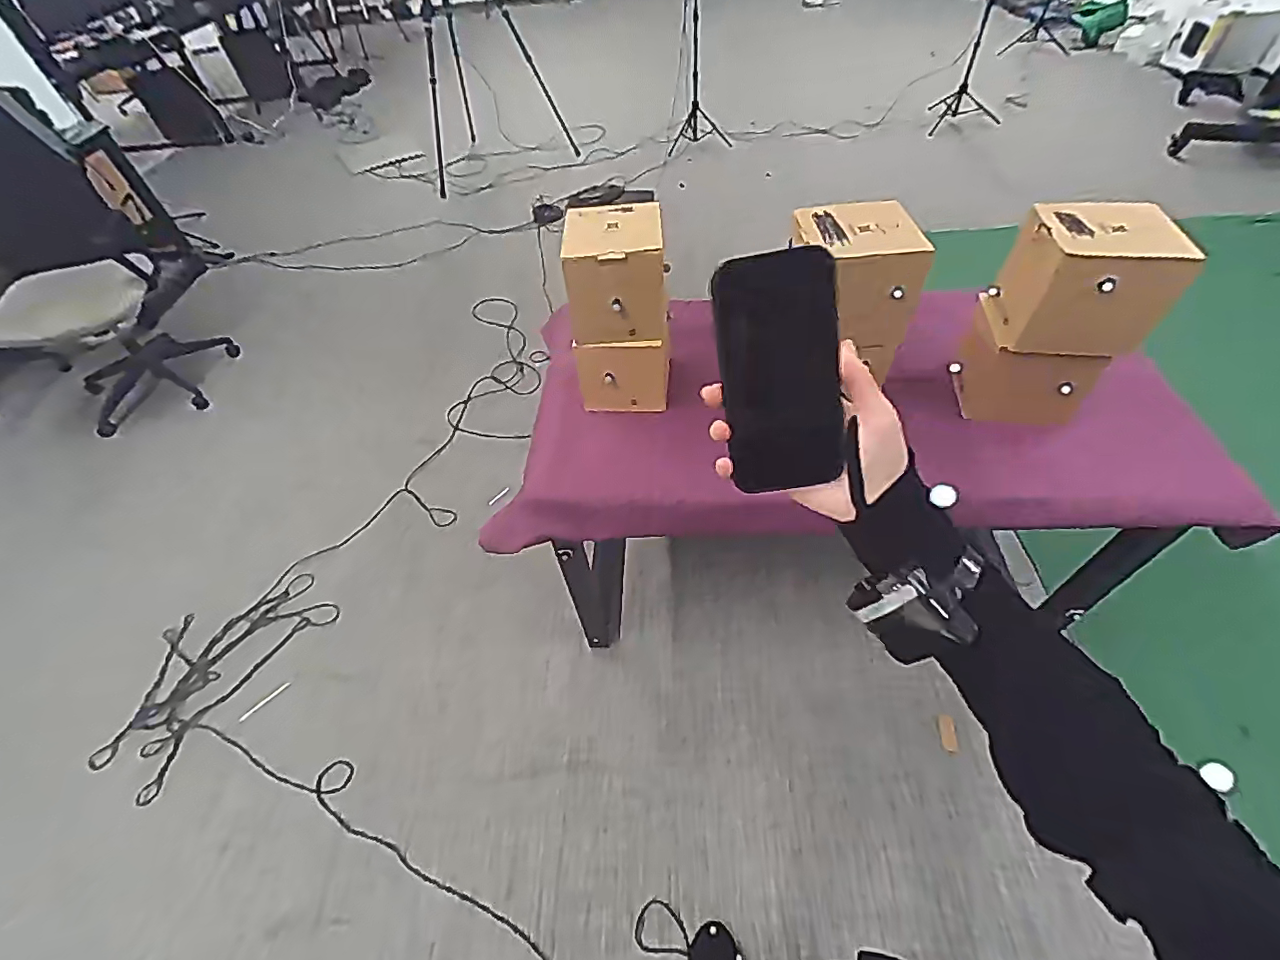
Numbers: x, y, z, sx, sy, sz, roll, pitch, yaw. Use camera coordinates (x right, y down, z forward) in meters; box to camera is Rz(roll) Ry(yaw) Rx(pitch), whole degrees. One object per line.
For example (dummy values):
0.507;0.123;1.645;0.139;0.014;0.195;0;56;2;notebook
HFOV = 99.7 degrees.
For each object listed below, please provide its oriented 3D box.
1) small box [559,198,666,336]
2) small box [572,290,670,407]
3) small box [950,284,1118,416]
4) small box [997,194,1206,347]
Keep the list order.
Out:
-0.041;-0.370;0.959;0.168;0.176;0.179;-3;51;3;small box
-0.028;-0.259;1.080;0.168;0.176;0.179;0;51;7;small box
0.696;-0.233;0.979;0.179;0.176;0.168;5;51;10;small box
0.690;-0.325;0.843;0.179;0.176;0.168;5;51;9;small box
